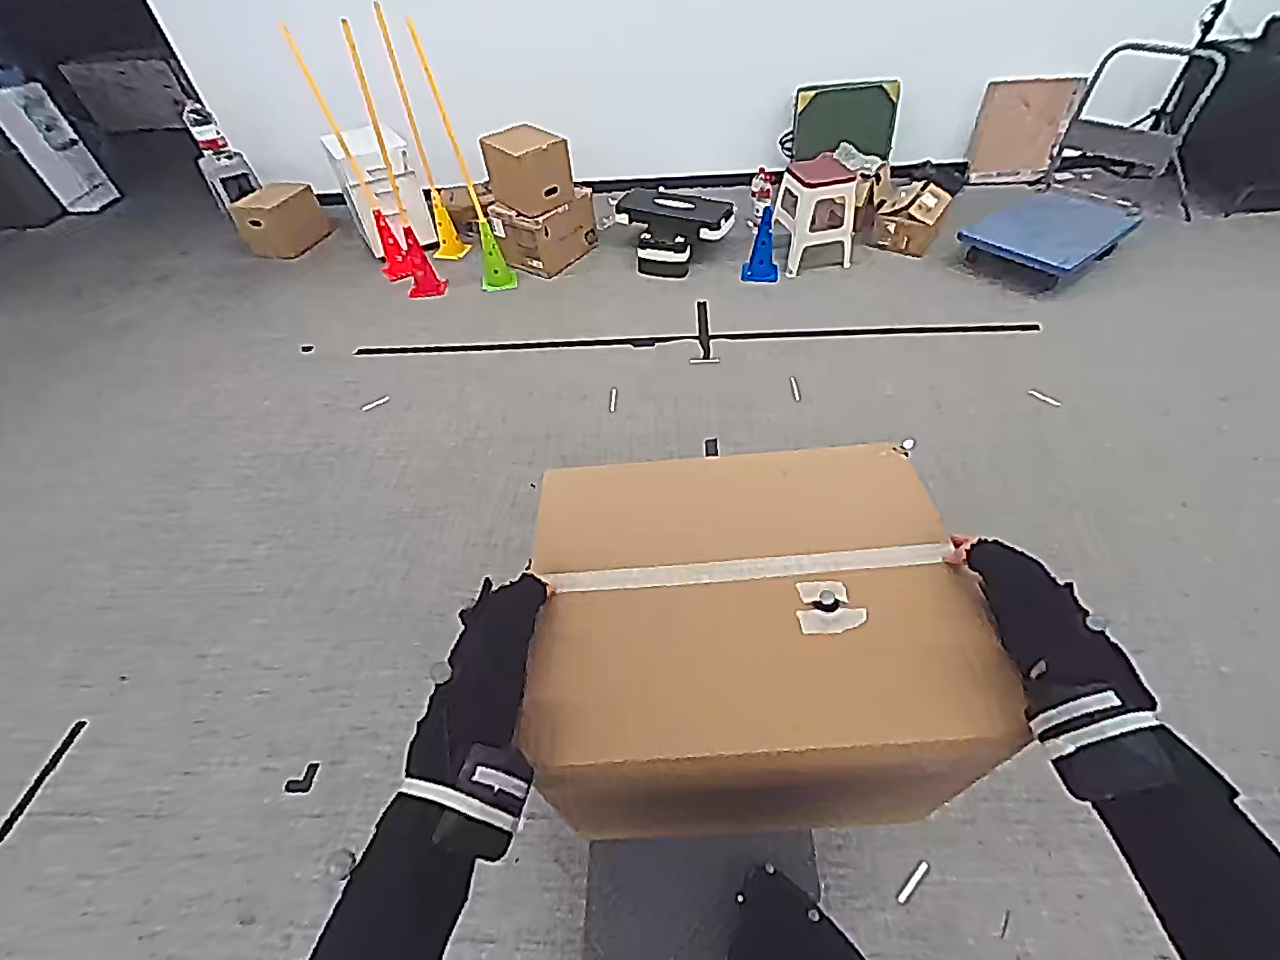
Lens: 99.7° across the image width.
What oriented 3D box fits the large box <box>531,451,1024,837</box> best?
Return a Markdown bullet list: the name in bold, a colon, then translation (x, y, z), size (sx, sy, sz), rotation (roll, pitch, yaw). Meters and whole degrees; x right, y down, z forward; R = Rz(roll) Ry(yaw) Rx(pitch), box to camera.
- **large box**: translation (0.110, 0.196, 0.637), size (0.408, 0.320, 0.320), rotation (-5, 47, 1)
